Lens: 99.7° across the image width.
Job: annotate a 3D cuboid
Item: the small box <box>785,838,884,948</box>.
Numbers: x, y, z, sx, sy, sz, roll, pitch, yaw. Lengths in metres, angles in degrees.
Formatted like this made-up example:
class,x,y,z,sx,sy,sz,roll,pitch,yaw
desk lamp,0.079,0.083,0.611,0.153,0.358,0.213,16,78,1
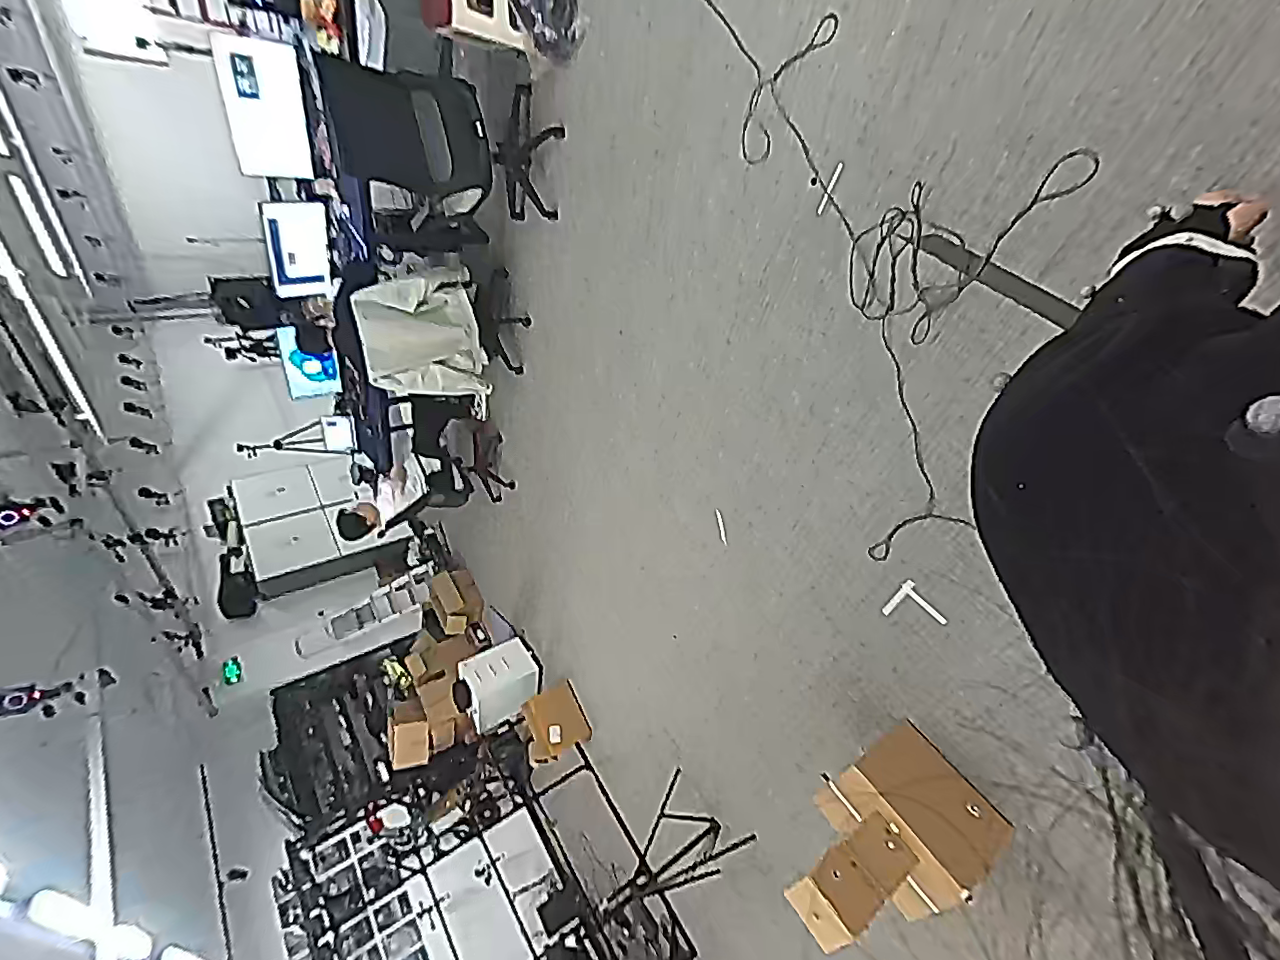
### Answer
class,x,y,z,sx,sy,sz,roll,pitch,yaw
small box,0.549,1.154,1.519,0.168,0.176,0.179,47,139,34

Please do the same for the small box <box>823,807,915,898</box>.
class,x,y,z,sx,sy,sz,roll,pitch,yaw
small box,0.679,1.121,1.611,0.168,0.176,0.179,47,138,32
